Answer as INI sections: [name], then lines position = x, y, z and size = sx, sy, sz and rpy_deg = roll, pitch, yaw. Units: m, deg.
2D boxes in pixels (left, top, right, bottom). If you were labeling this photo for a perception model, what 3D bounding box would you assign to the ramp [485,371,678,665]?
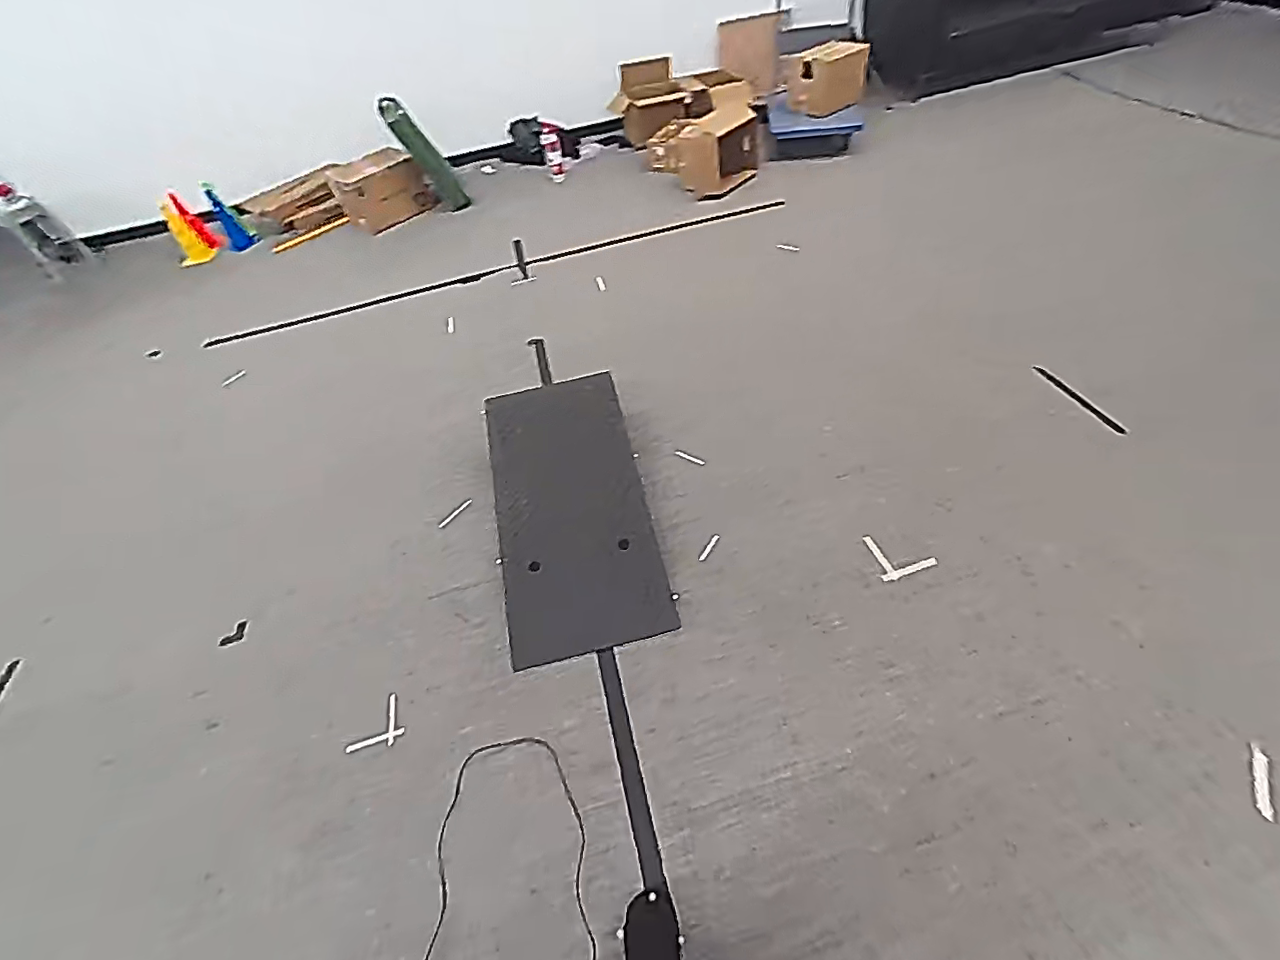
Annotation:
[ramp]
position = -0.232, 0.058, 1.788
size = 0.509, 0.206, 0.991
rpy_deg = -14, 49, -5
